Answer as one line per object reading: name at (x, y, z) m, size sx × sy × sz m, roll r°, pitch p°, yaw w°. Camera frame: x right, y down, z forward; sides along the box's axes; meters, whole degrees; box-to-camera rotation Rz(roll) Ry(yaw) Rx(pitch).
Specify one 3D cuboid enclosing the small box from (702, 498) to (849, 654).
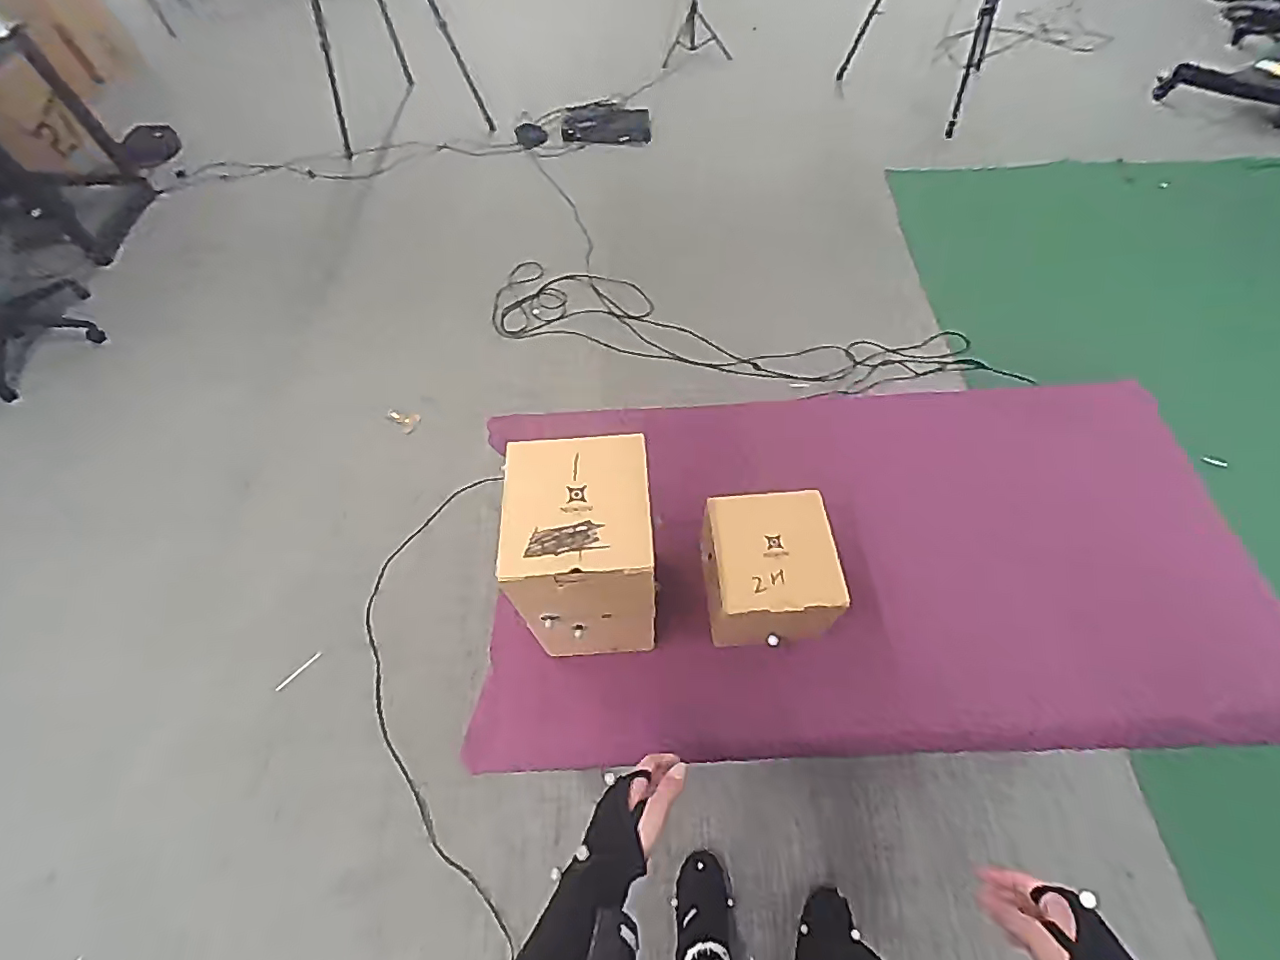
small box at (0.185, 0.146, 0.803) m, size 0.168 × 0.176 × 0.179 m, roll -4°, pitch 58°, yaw 0°

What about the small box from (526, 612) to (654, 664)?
small box at (-0.066, 0.162, 0.805) m, size 0.168 × 0.176 × 0.179 m, roll -4°, pitch 57°, yaw 1°

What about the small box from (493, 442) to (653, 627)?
small box at (-0.071, 0.075, 0.666) m, size 0.168 × 0.176 × 0.179 m, roll -3°, pitch 58°, yaw 0°
